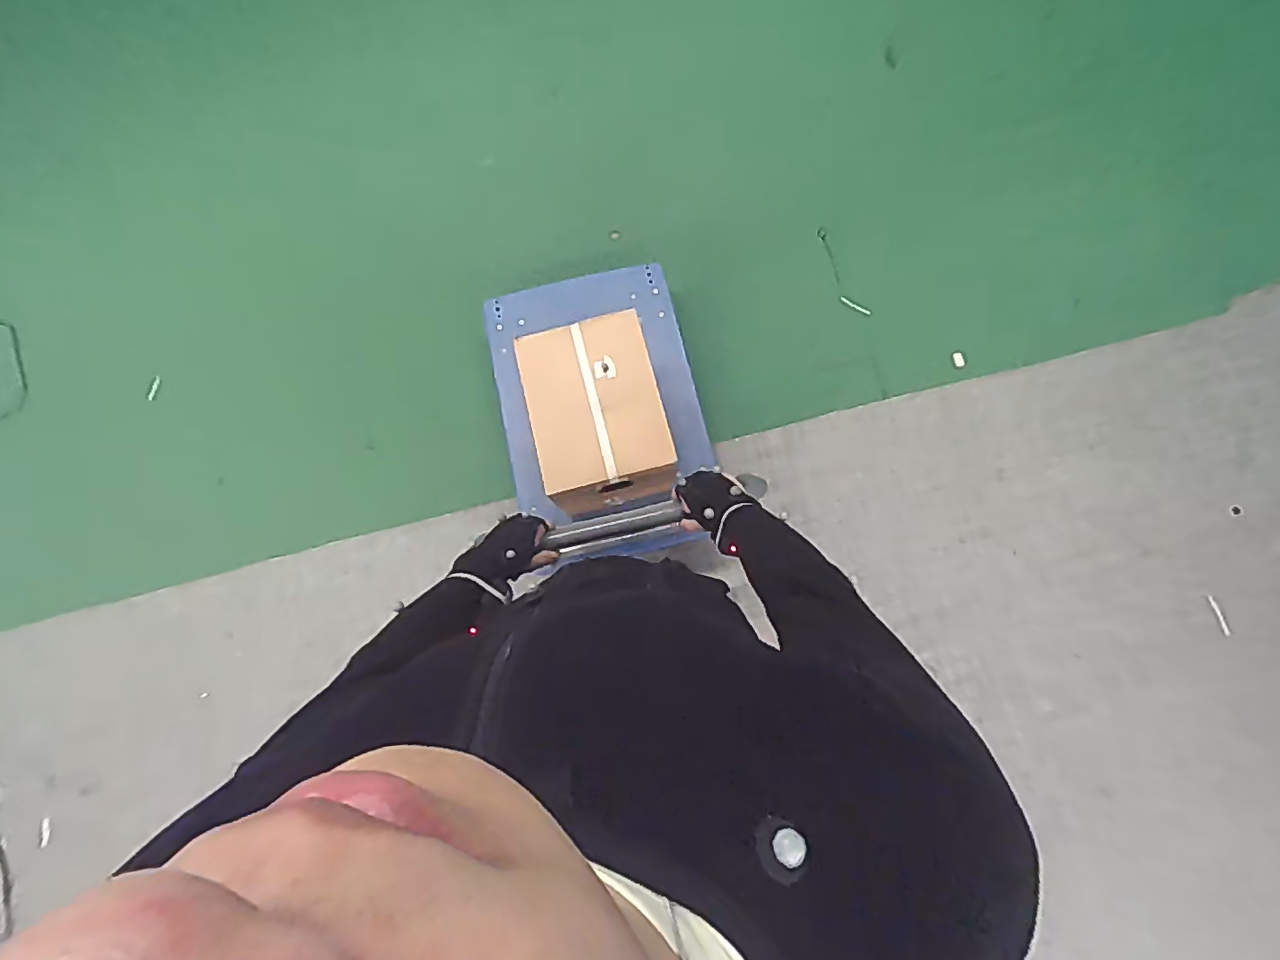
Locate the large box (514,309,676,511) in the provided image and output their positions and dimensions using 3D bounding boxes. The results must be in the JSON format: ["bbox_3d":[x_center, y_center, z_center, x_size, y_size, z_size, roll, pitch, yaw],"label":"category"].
[{"bbox_3d":[-0.105,-0.165,1.431,0.320,0.320,0.408,-14,77,-1],"label":"large box"}]
